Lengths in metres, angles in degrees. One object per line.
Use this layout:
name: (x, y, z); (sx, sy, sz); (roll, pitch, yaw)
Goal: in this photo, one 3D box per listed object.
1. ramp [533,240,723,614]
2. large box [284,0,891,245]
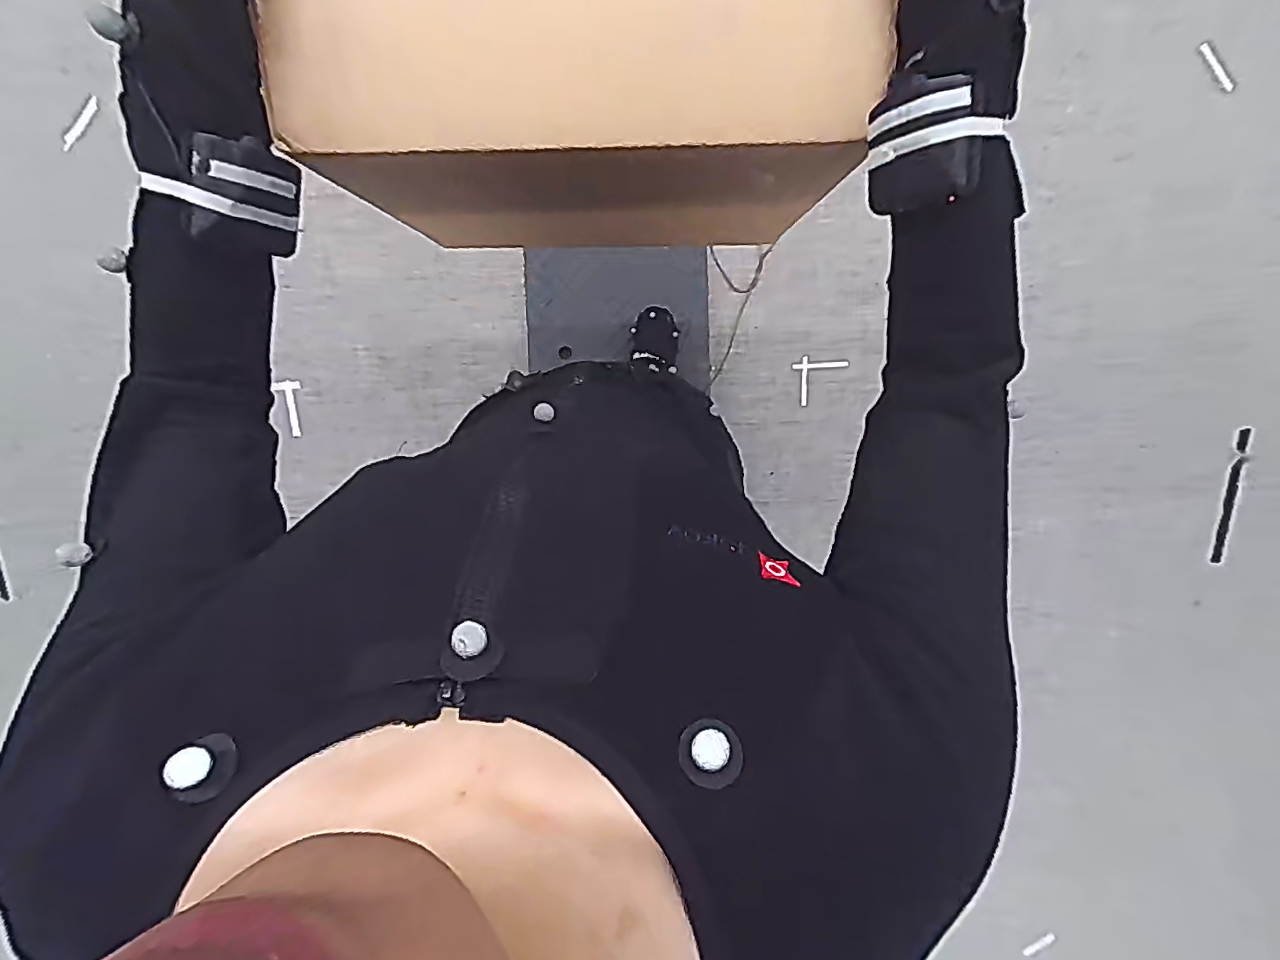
ramp: (-0.035, -0.139, 1.469); (0.509, 0.206, 0.991); (-3, 101, 3)
large box: (-0.038, -0.413, 0.484); (0.408, 0.320, 0.320); (-1, 102, 0)
